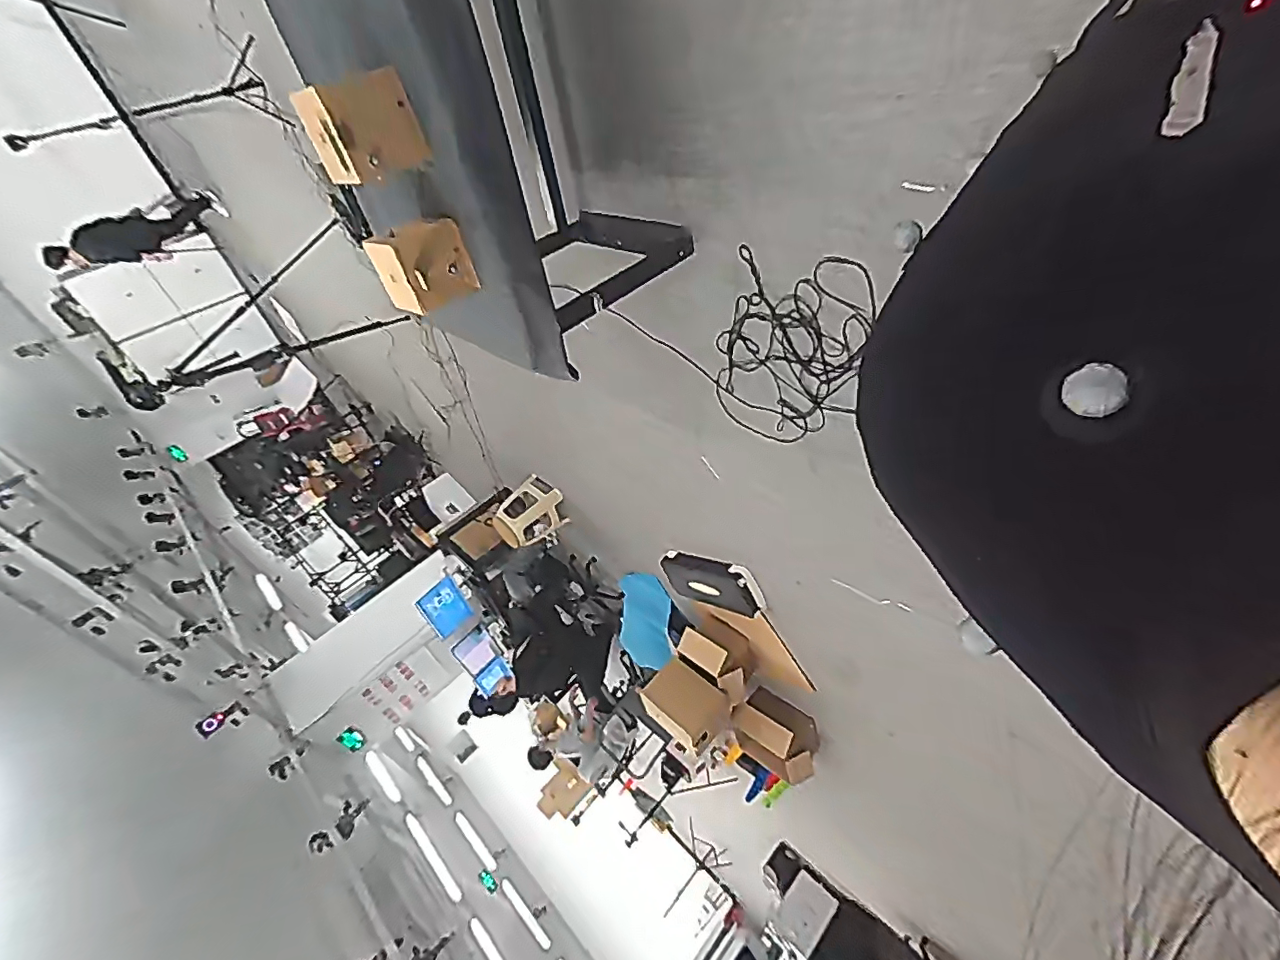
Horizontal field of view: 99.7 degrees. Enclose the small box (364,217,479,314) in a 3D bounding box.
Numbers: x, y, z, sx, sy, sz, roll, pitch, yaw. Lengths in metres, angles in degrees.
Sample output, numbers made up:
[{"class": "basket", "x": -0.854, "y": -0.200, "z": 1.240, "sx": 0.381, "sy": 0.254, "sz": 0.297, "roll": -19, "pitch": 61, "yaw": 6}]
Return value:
[{"class": "small box", "x": -0.523, "y": -0.525, "z": 1.312, "sx": 0.179, "sy": 0.176, "sz": 0.168, "roll": 25, "pitch": 143, "yaw": 39}]
